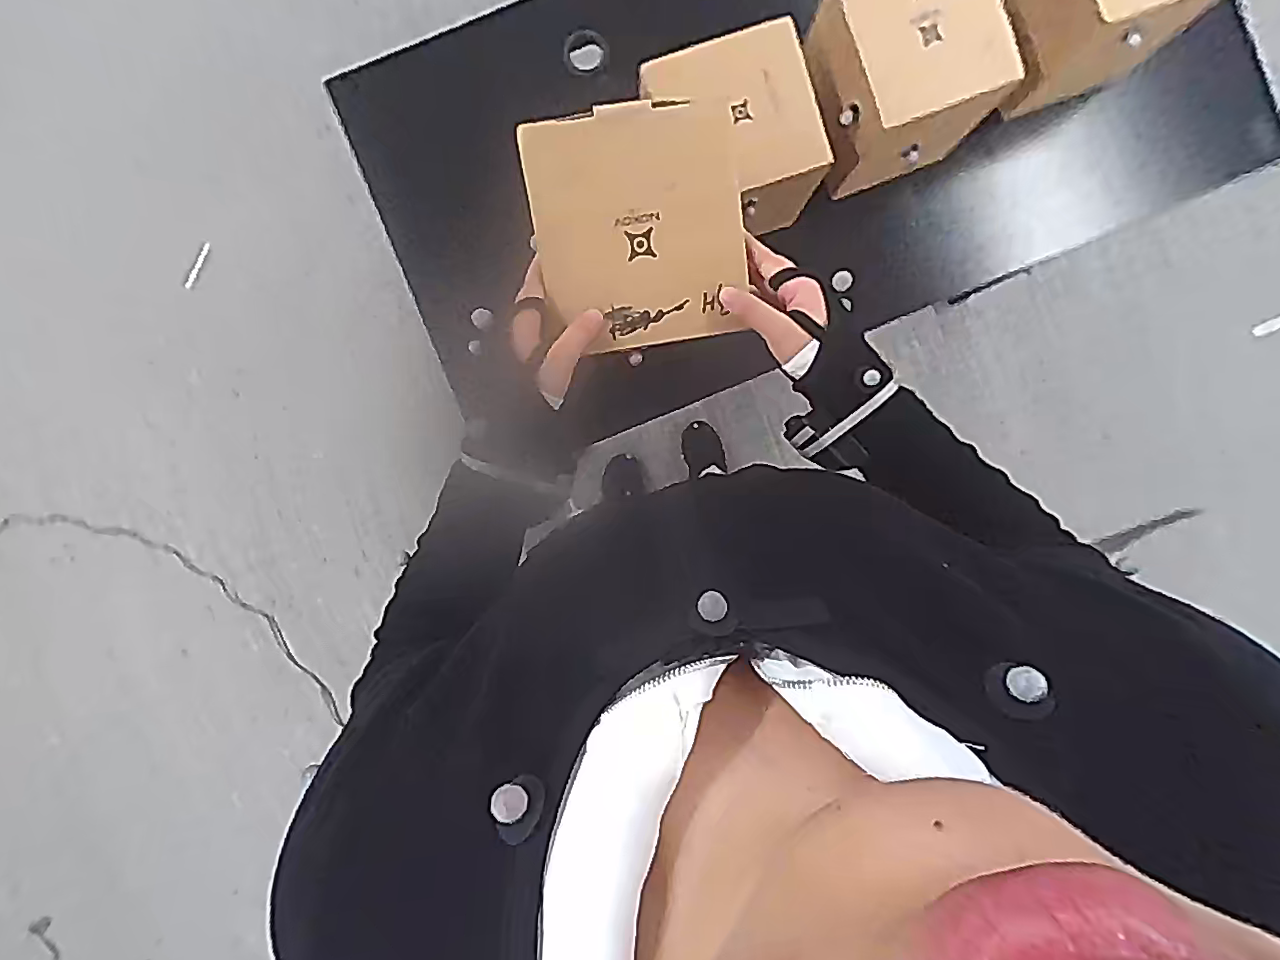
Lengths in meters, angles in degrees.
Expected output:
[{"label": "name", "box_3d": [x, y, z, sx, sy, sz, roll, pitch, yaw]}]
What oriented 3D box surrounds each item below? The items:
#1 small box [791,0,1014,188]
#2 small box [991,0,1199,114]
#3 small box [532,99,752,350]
[{"label": "small box", "box_3d": [0.312, -0.500, 0.679, 0.168, 0.176, 0.179, -21, 92, 1]}, {"label": "small box", "box_3d": [0.551, -0.606, 0.674, 0.179, 0.176, 0.168, -20, 92, 0]}, {"label": "small box", "box_3d": [0.001, -0.221, 0.513, 0.168, 0.176, 0.179, -7, 105, 0]}]
